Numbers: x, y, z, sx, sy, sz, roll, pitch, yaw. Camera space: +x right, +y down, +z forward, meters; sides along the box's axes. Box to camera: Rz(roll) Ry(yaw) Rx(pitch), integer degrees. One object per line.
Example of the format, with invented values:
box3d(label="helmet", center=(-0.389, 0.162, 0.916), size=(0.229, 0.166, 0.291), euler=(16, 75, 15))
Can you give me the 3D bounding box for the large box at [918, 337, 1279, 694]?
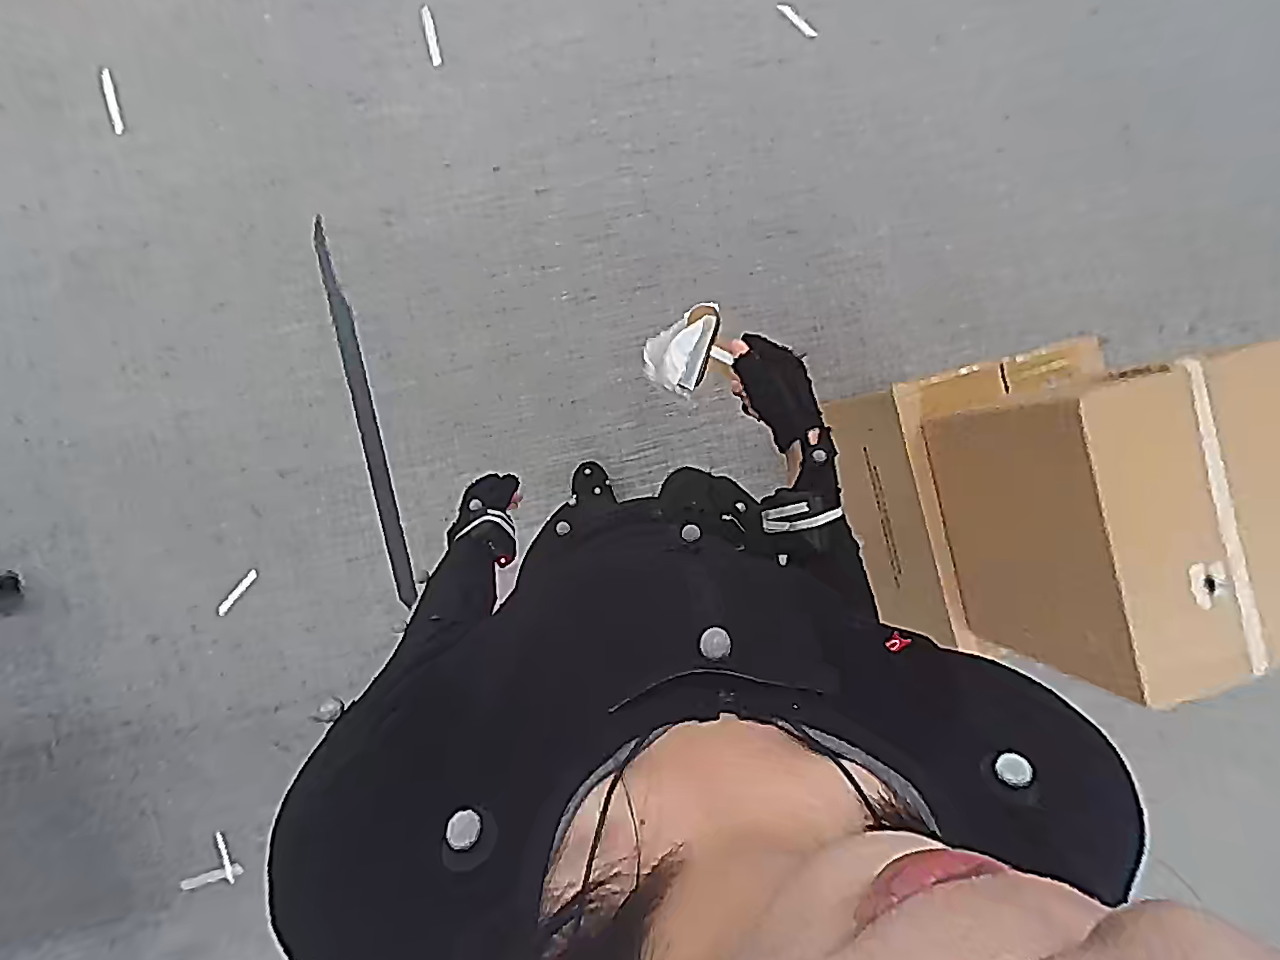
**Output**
box3d(label="large box", center=(0.702, 0.039, 0.839), size=(0.320, 0.320, 0.408), euler=(-15, 93, -5))
